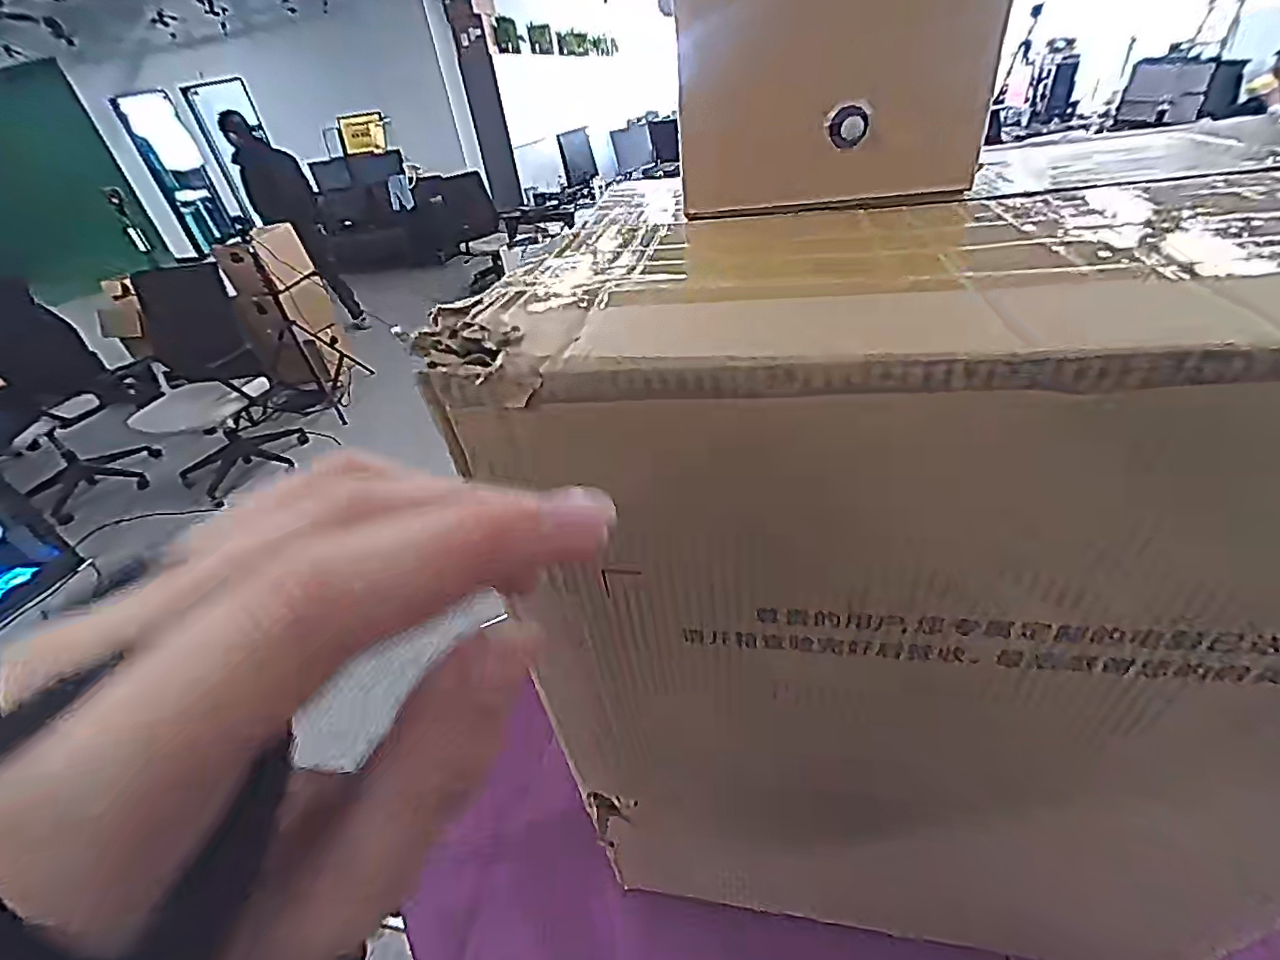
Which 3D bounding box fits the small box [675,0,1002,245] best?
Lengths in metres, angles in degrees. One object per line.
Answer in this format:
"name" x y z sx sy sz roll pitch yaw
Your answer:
"small box" 0.119 -0.276 0.368 0.179 0.176 0.168 1 37 10
